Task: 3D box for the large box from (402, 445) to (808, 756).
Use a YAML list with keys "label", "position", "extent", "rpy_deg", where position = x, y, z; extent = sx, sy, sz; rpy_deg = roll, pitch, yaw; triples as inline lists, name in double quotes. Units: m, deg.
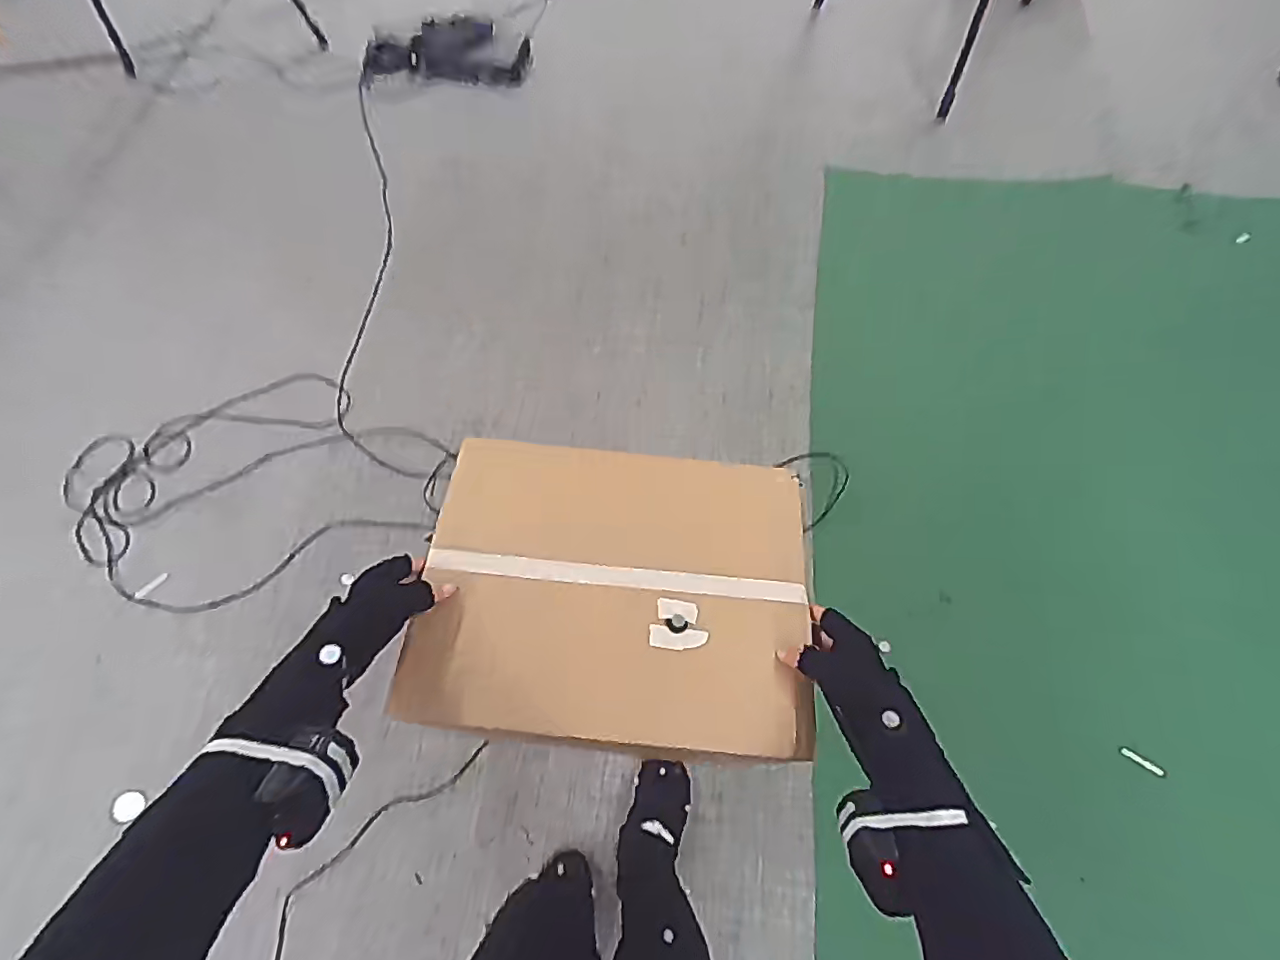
- label: "large box"
  position: [-0.032, 0.178, 0.721]
  extent: [0.408, 0.320, 0.320]
  rpy_deg: [6, 62, 0]
